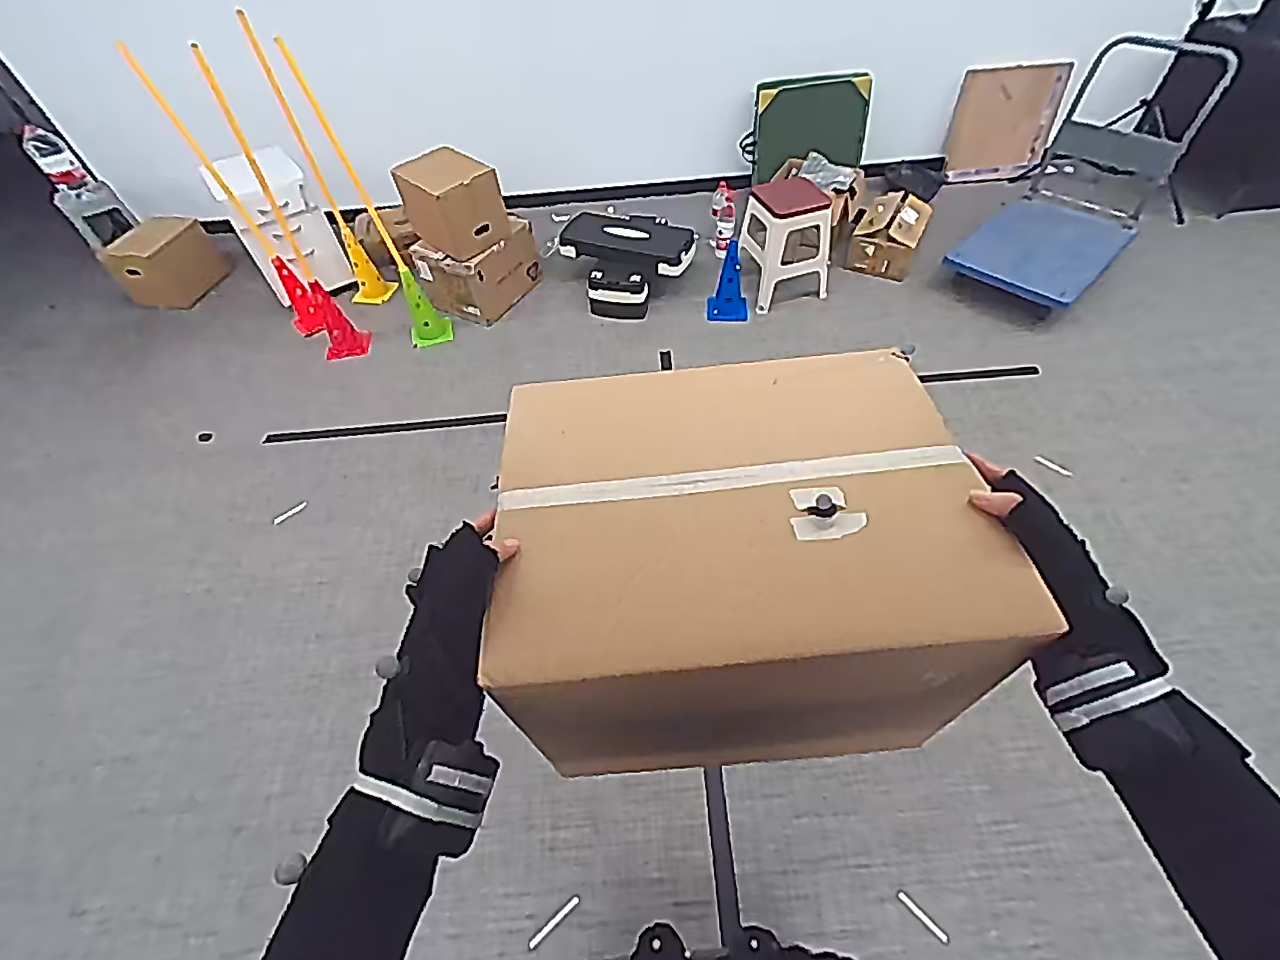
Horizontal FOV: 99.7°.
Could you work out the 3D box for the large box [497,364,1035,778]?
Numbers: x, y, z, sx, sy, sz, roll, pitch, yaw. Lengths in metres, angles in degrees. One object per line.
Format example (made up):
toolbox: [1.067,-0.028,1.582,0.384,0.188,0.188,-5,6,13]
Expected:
large box: [0.089,0.108,0.598,0.408,0.320,0.320,-6,51,1]

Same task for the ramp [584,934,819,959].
ramp: [0.161,1.399,0.883,0.509,0.206,0.991,-6,52,-1]
